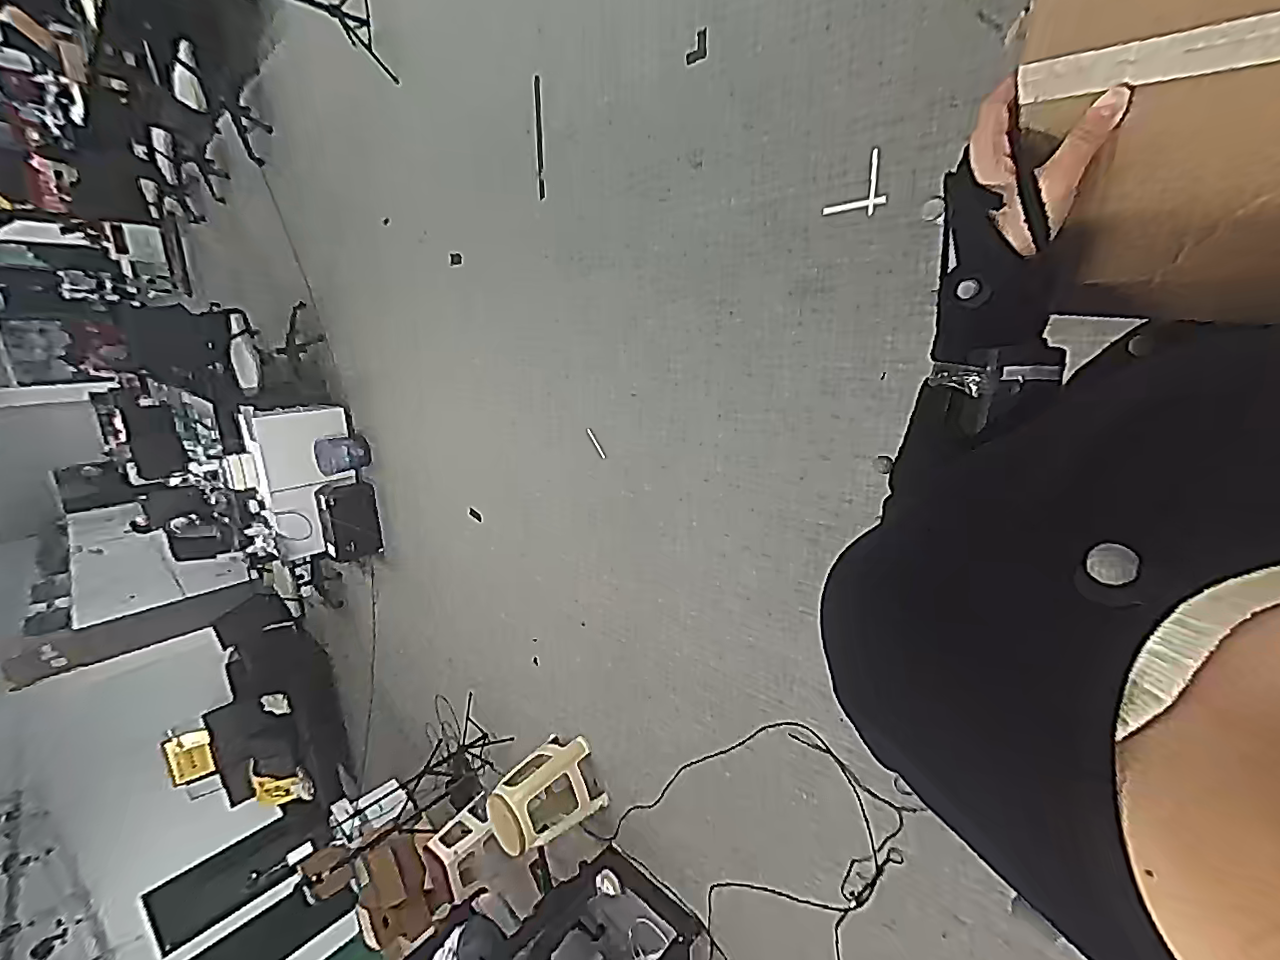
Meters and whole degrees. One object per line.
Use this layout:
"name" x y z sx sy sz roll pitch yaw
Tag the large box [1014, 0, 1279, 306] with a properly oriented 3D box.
"large box" 0.476 -0.304 0.274 0.408 0.320 0.320 18 145 40
